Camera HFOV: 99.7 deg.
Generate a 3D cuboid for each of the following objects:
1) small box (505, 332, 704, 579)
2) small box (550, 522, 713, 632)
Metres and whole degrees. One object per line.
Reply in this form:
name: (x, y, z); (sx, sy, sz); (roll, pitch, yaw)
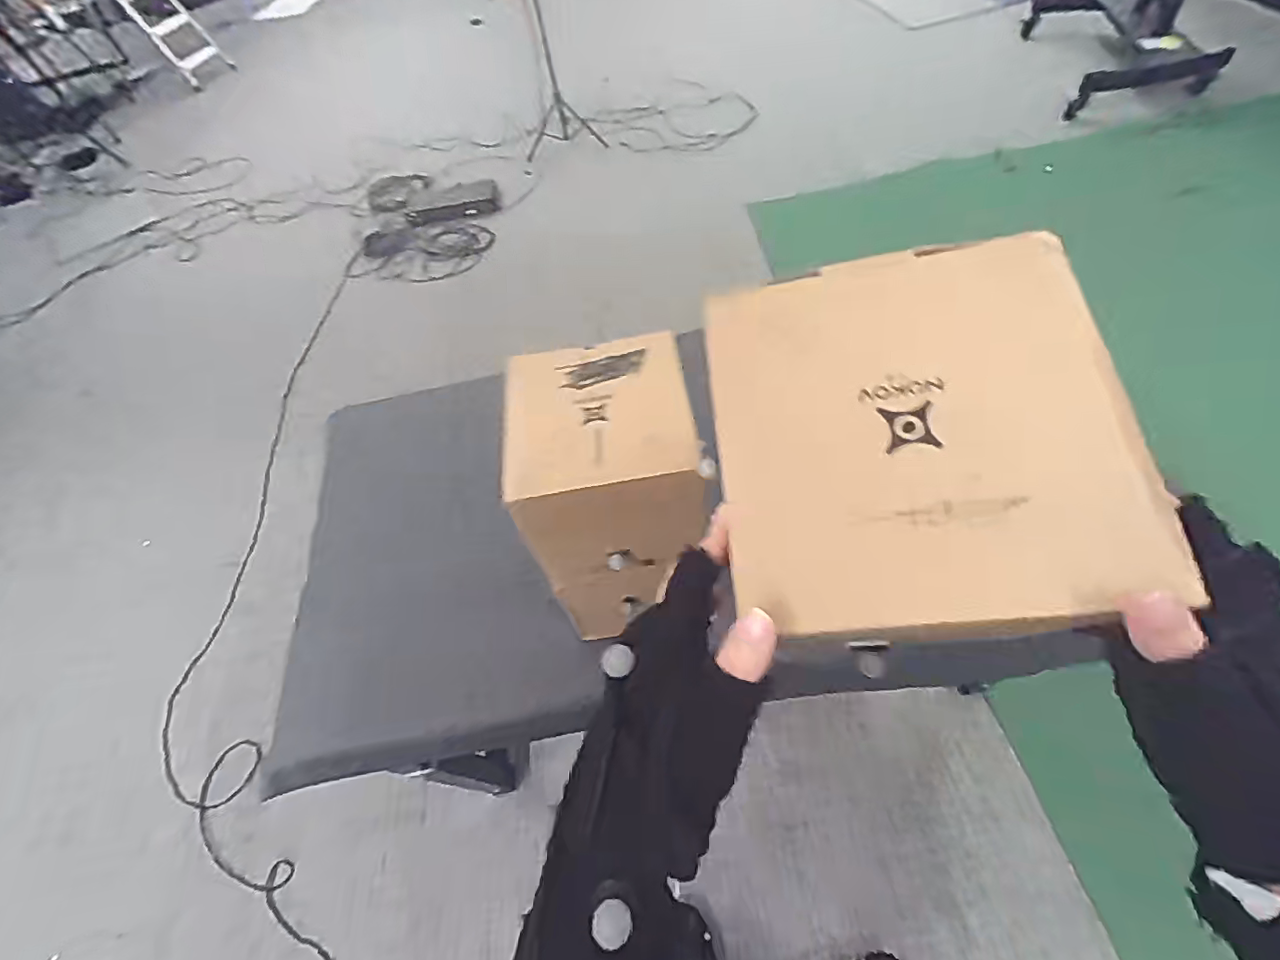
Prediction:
small box: (-0.029, -0.021, 0.551); (0.168, 0.176, 0.179); (-8, 55, 2)
small box: (-0.008, 0.079, 0.681); (0.179, 0.176, 0.168); (-9, 54, 2)
